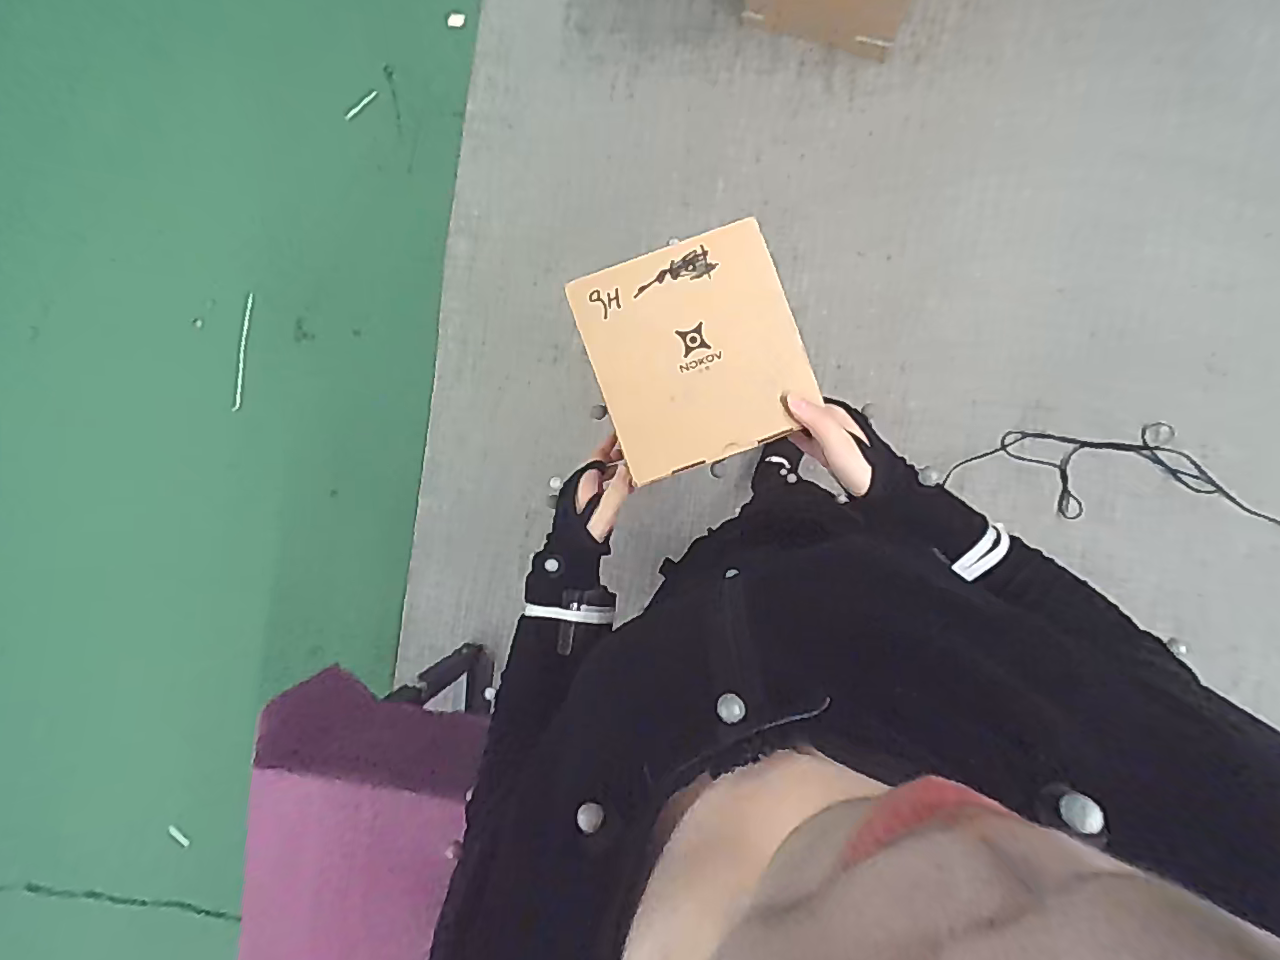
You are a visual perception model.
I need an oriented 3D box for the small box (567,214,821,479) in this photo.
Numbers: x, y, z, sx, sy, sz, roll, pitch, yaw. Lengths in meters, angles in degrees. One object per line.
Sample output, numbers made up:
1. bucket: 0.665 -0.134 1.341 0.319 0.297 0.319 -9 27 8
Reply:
1. small box: 0.044 -0.108 0.513 0.168 0.176 0.179 -19 90 0
